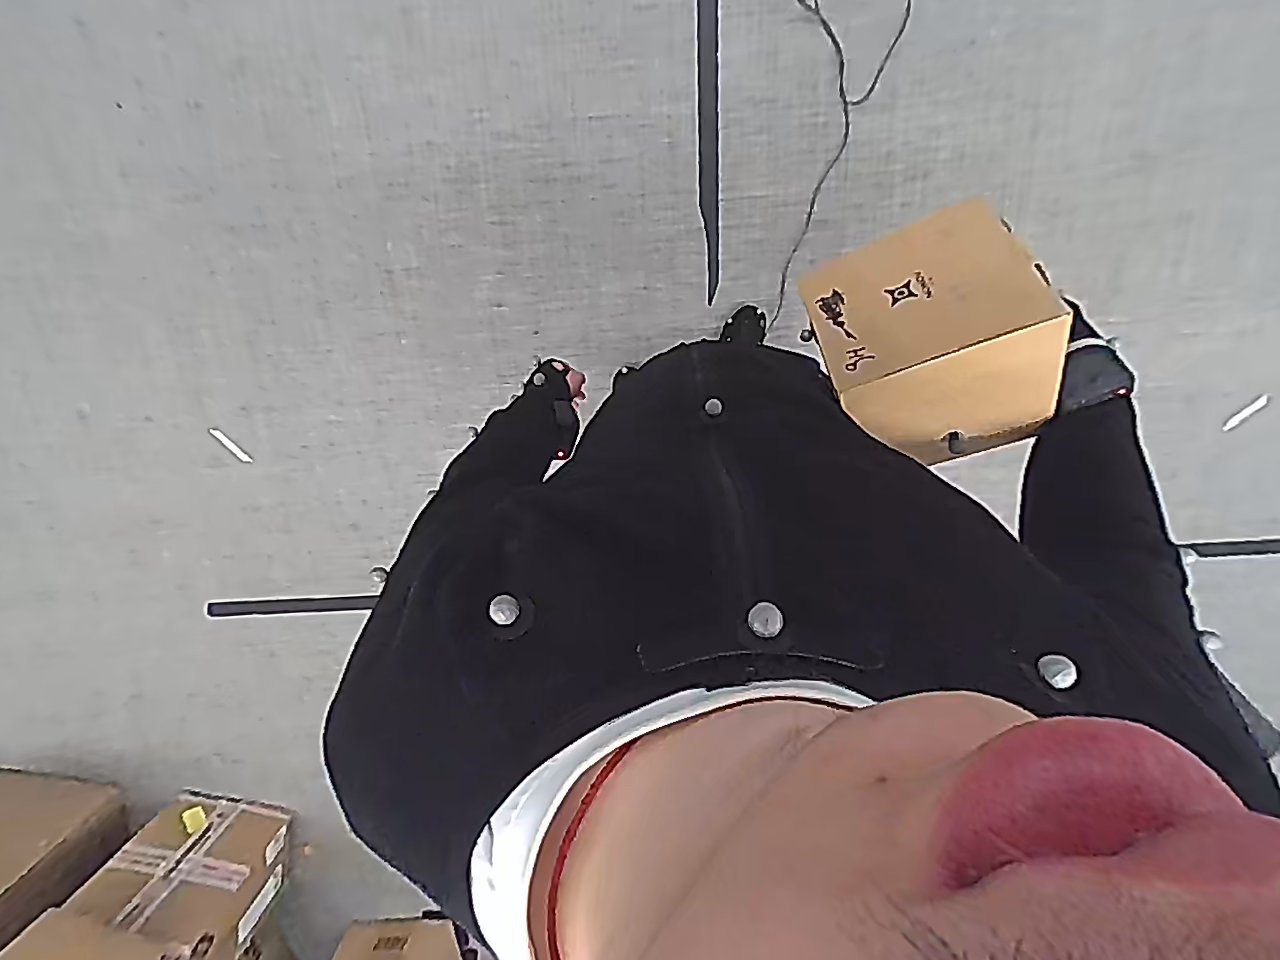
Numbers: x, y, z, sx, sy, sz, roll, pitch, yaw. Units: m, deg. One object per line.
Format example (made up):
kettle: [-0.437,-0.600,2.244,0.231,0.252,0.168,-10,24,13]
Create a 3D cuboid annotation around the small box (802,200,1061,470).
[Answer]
small box: [0.285,-0.135,0.555,0.179,0.168,0.176,-18,142,21]
